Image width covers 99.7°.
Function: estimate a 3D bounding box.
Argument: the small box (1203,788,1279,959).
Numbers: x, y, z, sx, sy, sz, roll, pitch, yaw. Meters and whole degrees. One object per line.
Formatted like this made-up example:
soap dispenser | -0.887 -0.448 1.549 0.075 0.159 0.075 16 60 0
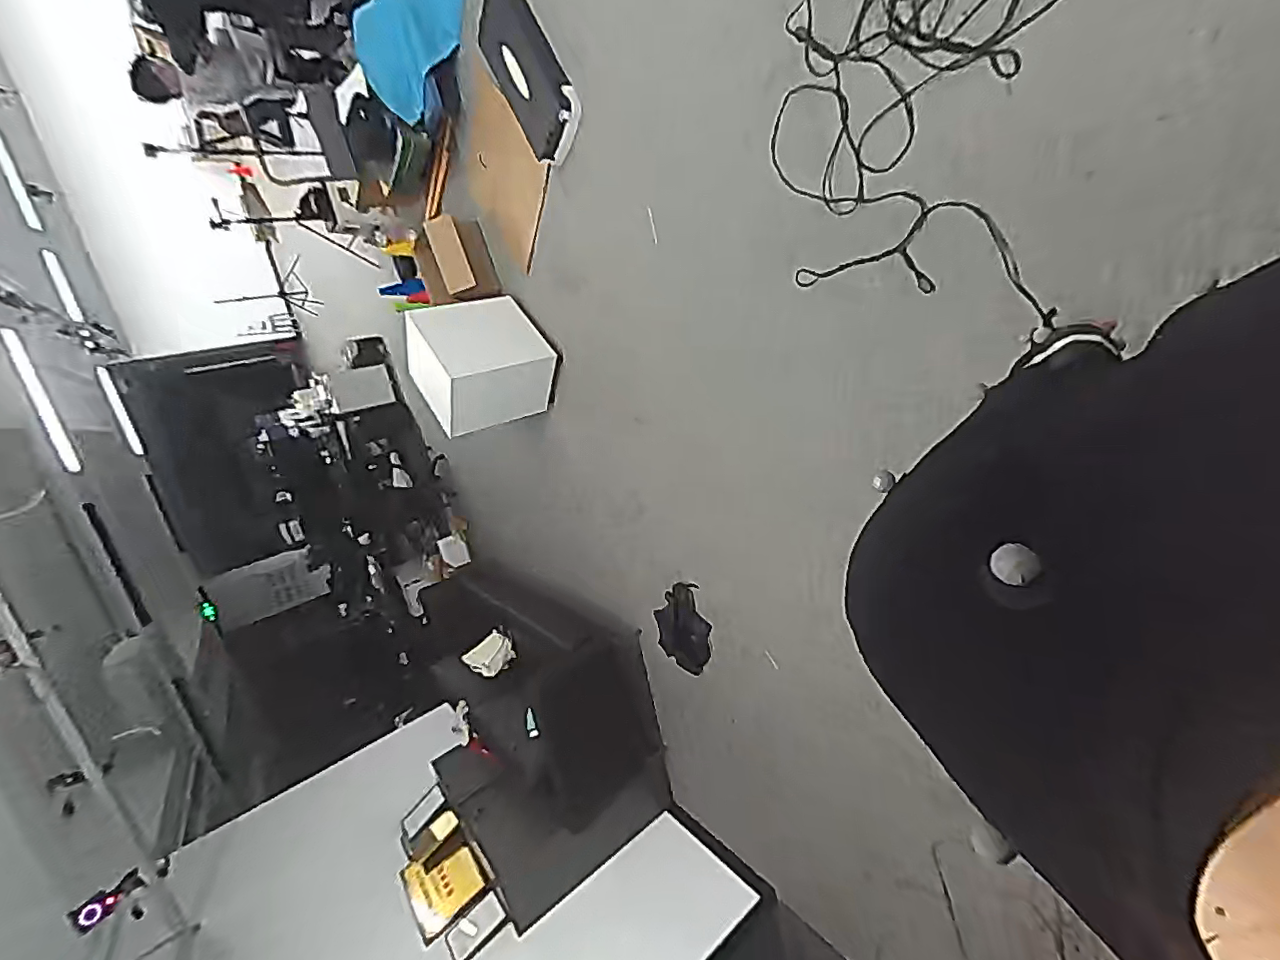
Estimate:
small box | 1.068 0.658 0.882 0.168 0.176 0.179 14 116 54
